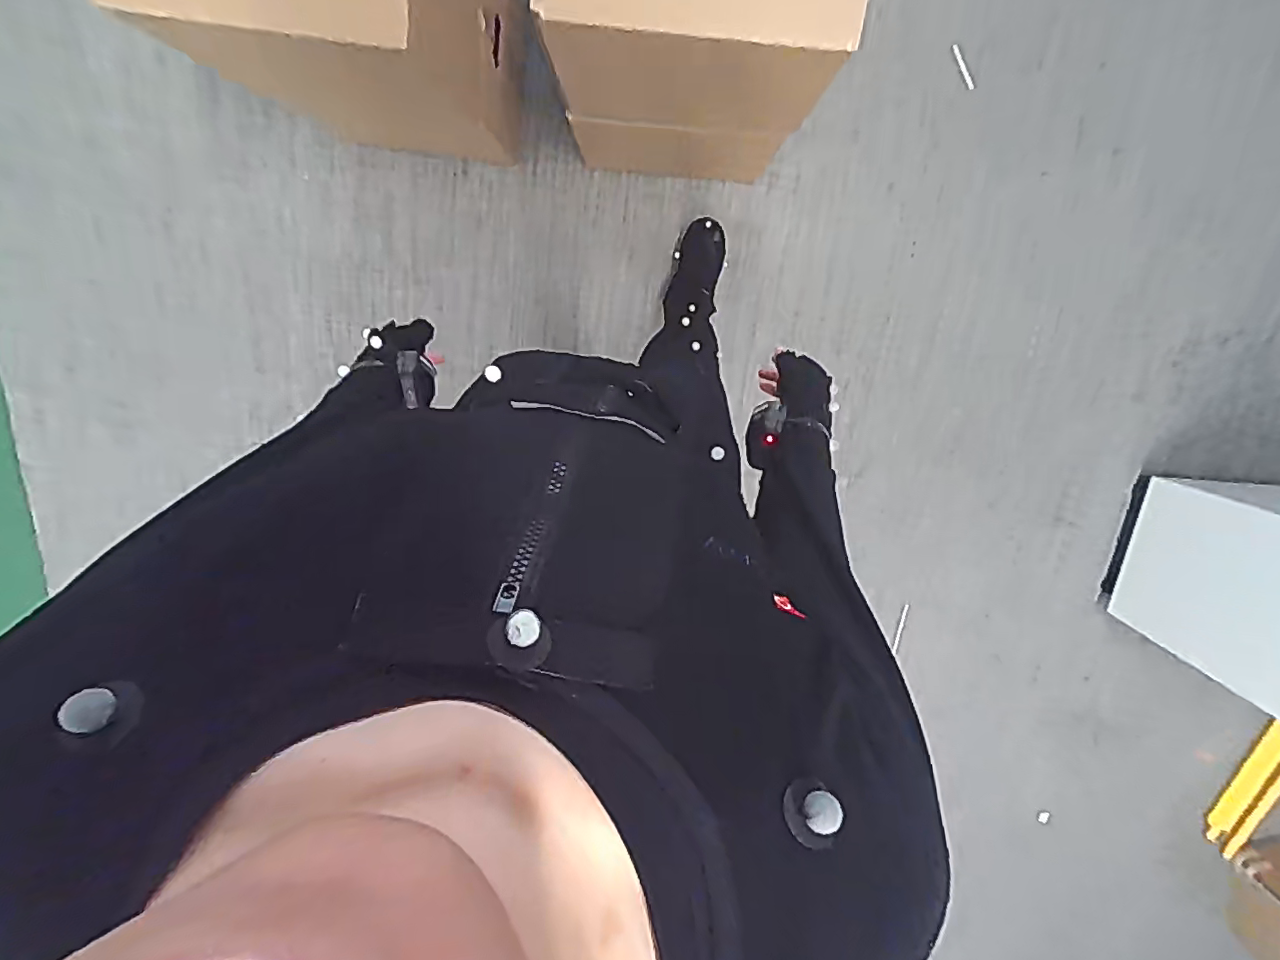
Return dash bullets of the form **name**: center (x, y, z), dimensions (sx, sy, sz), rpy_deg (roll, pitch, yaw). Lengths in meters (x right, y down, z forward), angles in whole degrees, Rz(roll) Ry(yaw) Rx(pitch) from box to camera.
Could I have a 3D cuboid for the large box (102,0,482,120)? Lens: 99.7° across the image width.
- **large box**: center (-0.467, -0.765, 0.778), dimensions (0.408, 0.320, 0.320), rpy_deg (7, 108, -2)
